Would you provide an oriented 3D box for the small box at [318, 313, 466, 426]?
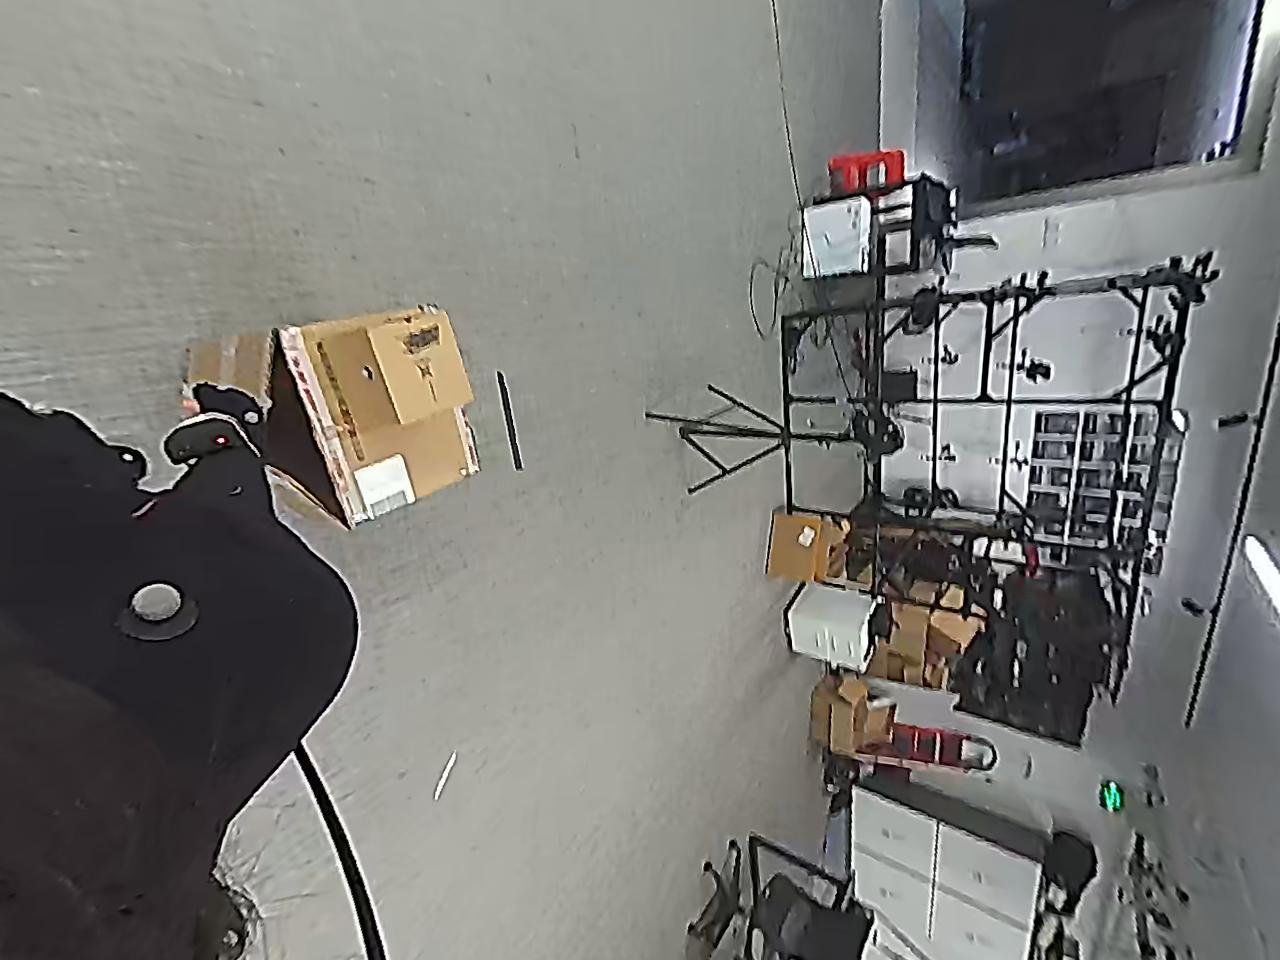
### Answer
[{"bbox_3d":[-0.467,-0.205,1.018,0.168,0.176,0.179,-35,121,-48],"label":"small box"}]
